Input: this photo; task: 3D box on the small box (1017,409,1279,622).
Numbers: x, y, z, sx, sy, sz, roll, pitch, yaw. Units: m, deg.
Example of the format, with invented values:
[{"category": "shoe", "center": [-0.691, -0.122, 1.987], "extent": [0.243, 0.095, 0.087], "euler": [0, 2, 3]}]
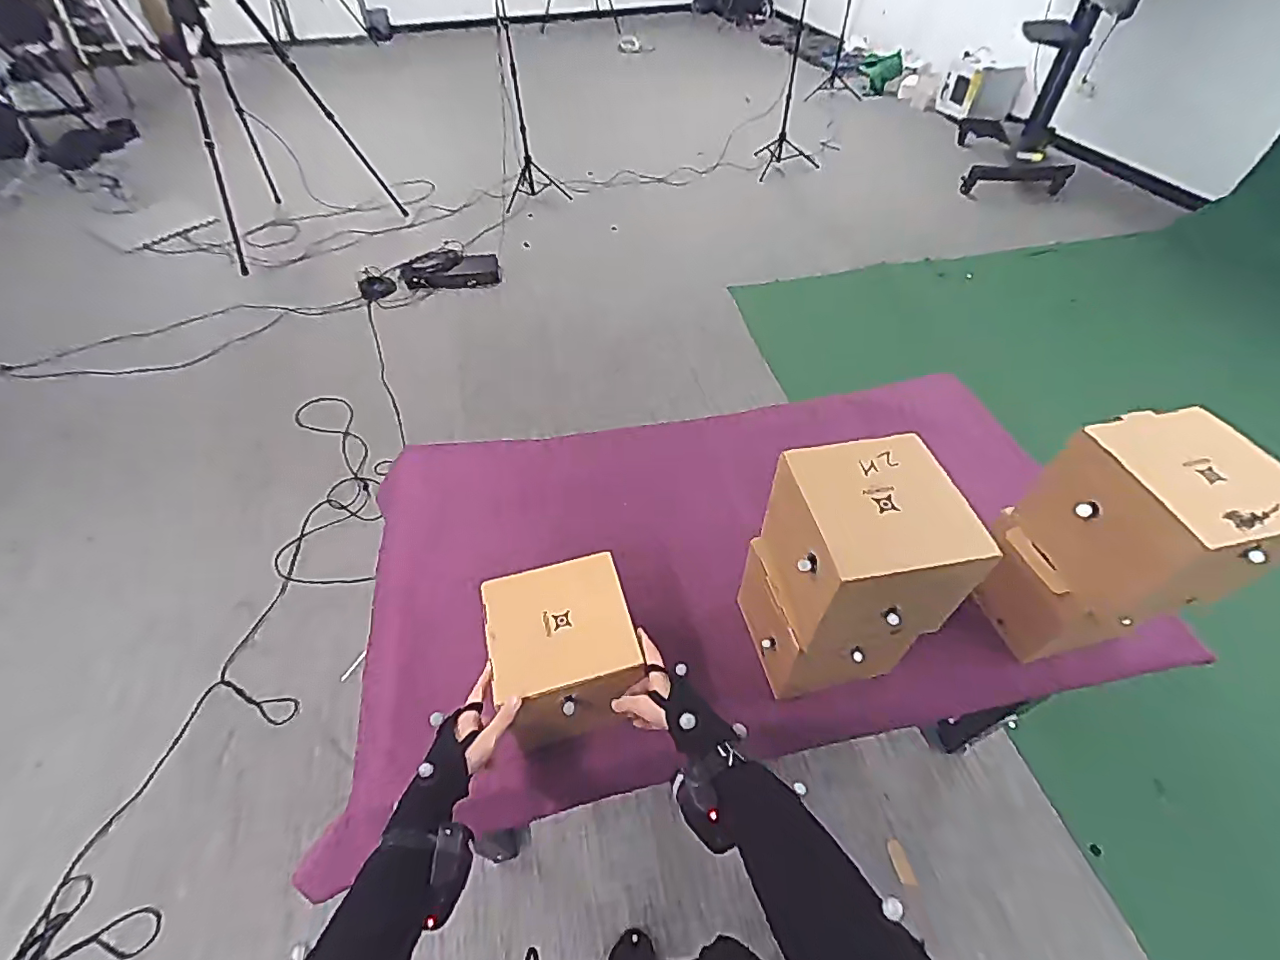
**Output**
[{"category": "small box", "center": [0.607, 0.043, 0.646], "extent": [0.168, 0.176, 0.179], "euler": [-10, 49, -6]}]

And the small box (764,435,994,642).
[{"category": "small box", "center": [0.256, 0.075, 0.633], "extent": [0.168, 0.176, 0.179], "euler": [-8, 49, -5]}]

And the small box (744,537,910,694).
[{"category": "small box", "center": [0.254, 0.180, 0.758], "extent": [0.179, 0.176, 0.168], "euler": [-10, 49, -7]}]

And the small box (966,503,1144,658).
[{"category": "small box", "center": [0.610, 0.137, 0.782], "extent": [0.179, 0.176, 0.168], "euler": [-12, 50, -8]}]
